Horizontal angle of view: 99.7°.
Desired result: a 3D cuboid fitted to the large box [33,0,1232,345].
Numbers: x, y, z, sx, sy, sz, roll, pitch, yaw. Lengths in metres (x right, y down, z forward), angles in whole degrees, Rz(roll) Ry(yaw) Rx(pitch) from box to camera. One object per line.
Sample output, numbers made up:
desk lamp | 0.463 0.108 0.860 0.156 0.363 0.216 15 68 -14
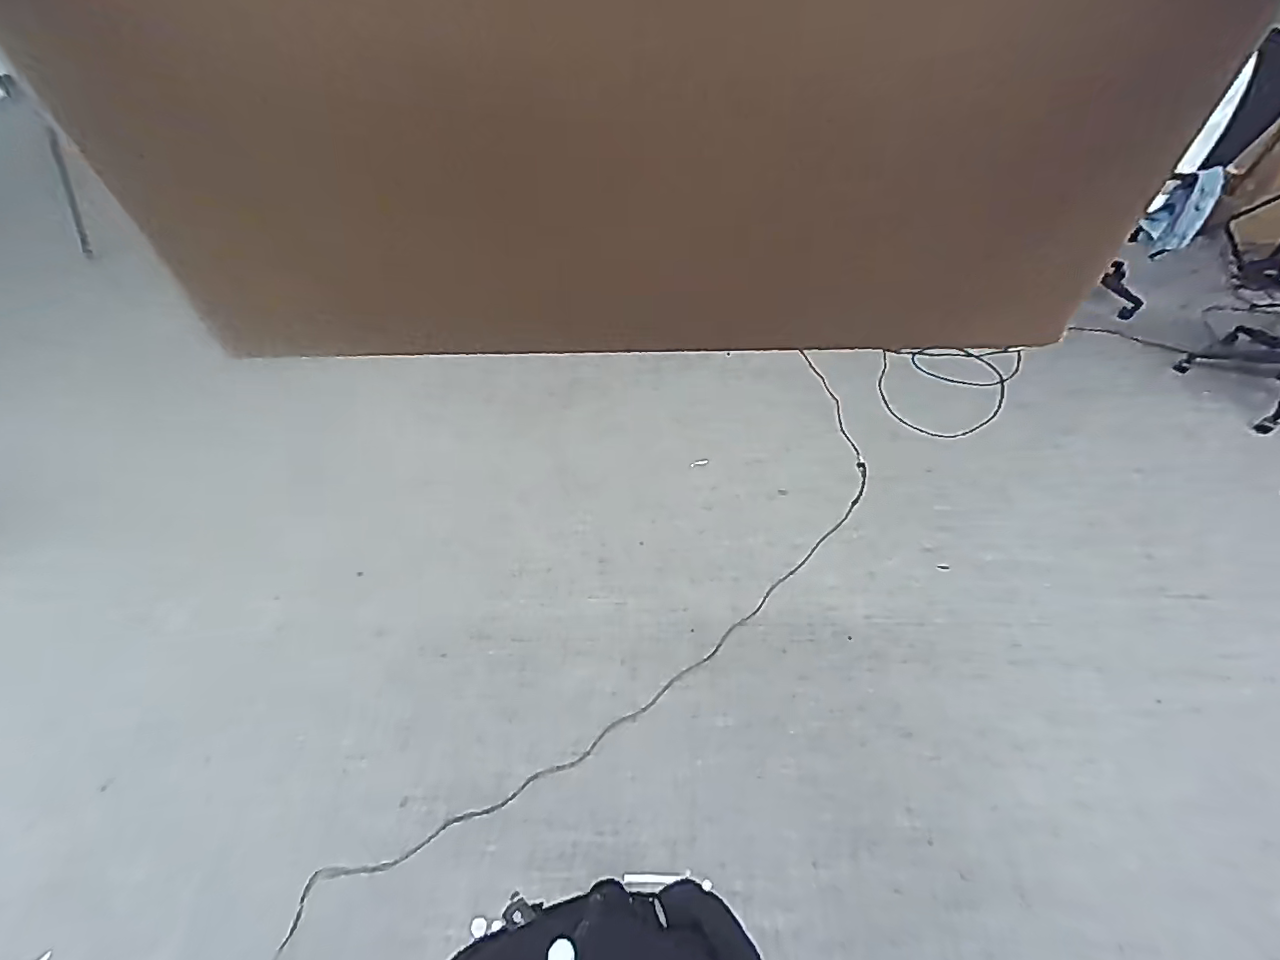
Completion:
large box | -0.003 -0.280 0.258 0.408 0.320 0.320 0 50 1
